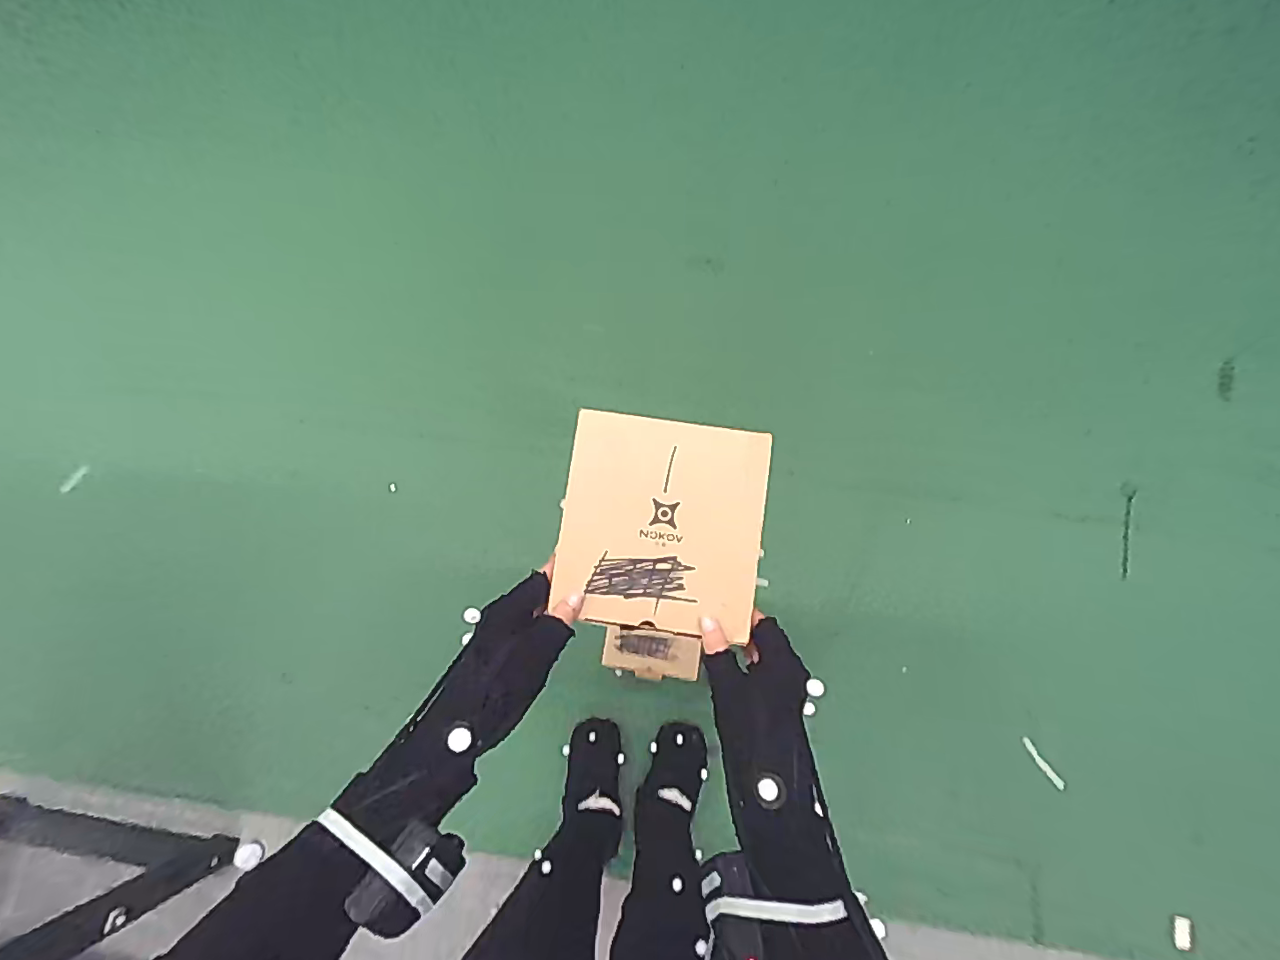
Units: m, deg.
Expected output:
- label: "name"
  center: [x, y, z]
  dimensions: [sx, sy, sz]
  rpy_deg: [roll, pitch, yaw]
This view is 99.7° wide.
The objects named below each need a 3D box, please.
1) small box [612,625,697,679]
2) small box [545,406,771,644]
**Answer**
- label: "small box"
  center: [0.039, 0.320, 1.173]
  dimensions: [0.168, 0.176, 0.179]
  rpy_deg: [8, 77, 5]
- label: "small box"
  center: [0.017, 0.044, 0.520]
  dimensions: [0.168, 0.176, 0.179]
  rpy_deg: [8, 83, 1]
